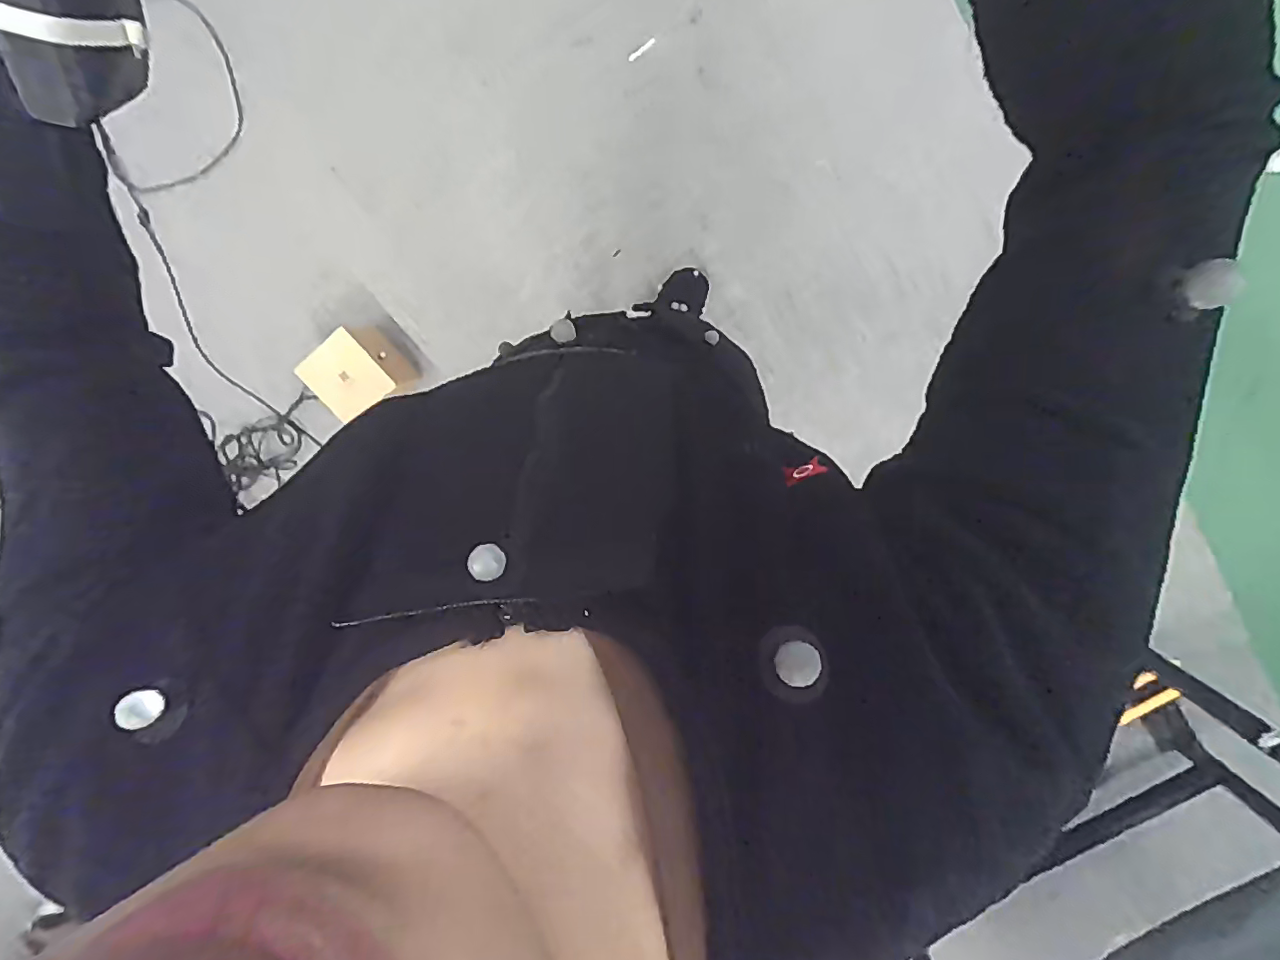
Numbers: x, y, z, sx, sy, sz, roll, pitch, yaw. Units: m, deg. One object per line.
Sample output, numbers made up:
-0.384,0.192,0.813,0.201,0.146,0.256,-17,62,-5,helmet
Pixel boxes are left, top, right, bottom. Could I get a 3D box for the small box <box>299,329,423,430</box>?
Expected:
-0.677,-0.252,1.333,0.168,0.176,0.179,-37,105,10,small box
